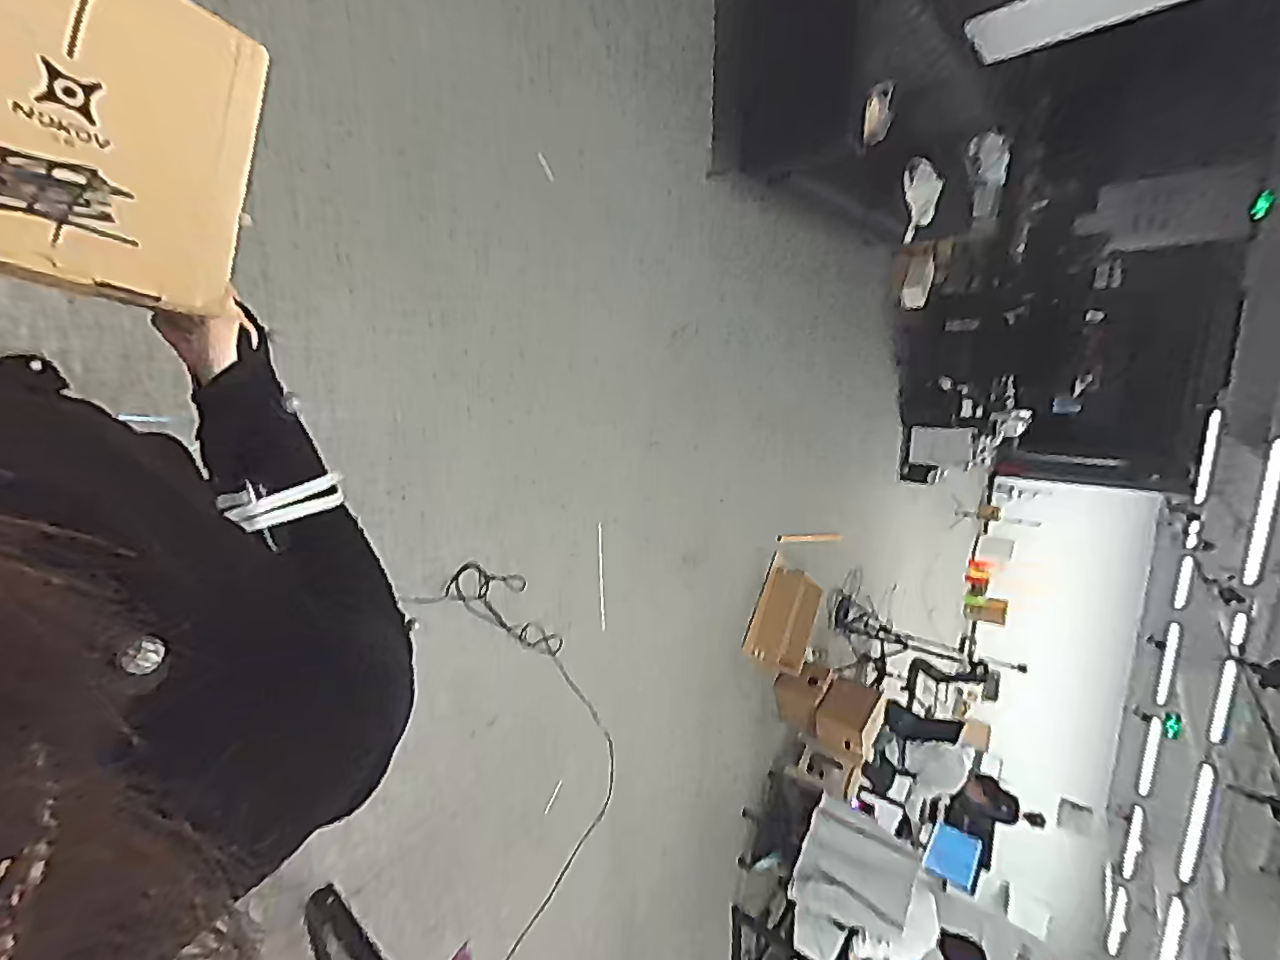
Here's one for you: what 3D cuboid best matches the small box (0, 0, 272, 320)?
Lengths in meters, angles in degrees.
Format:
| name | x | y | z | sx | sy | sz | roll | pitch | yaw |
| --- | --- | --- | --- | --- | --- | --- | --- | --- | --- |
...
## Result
| name | x | y | z | sx | sy | sz | roll | pitch | yaw |
| --- | --- | --- | --- | --- | --- | --- | --- | --- | --- |
| small box | -0.364 | -0.214 | 0.343 | 0.168 | 0.176 | 0.179 | 9 | 95 | -48 |
